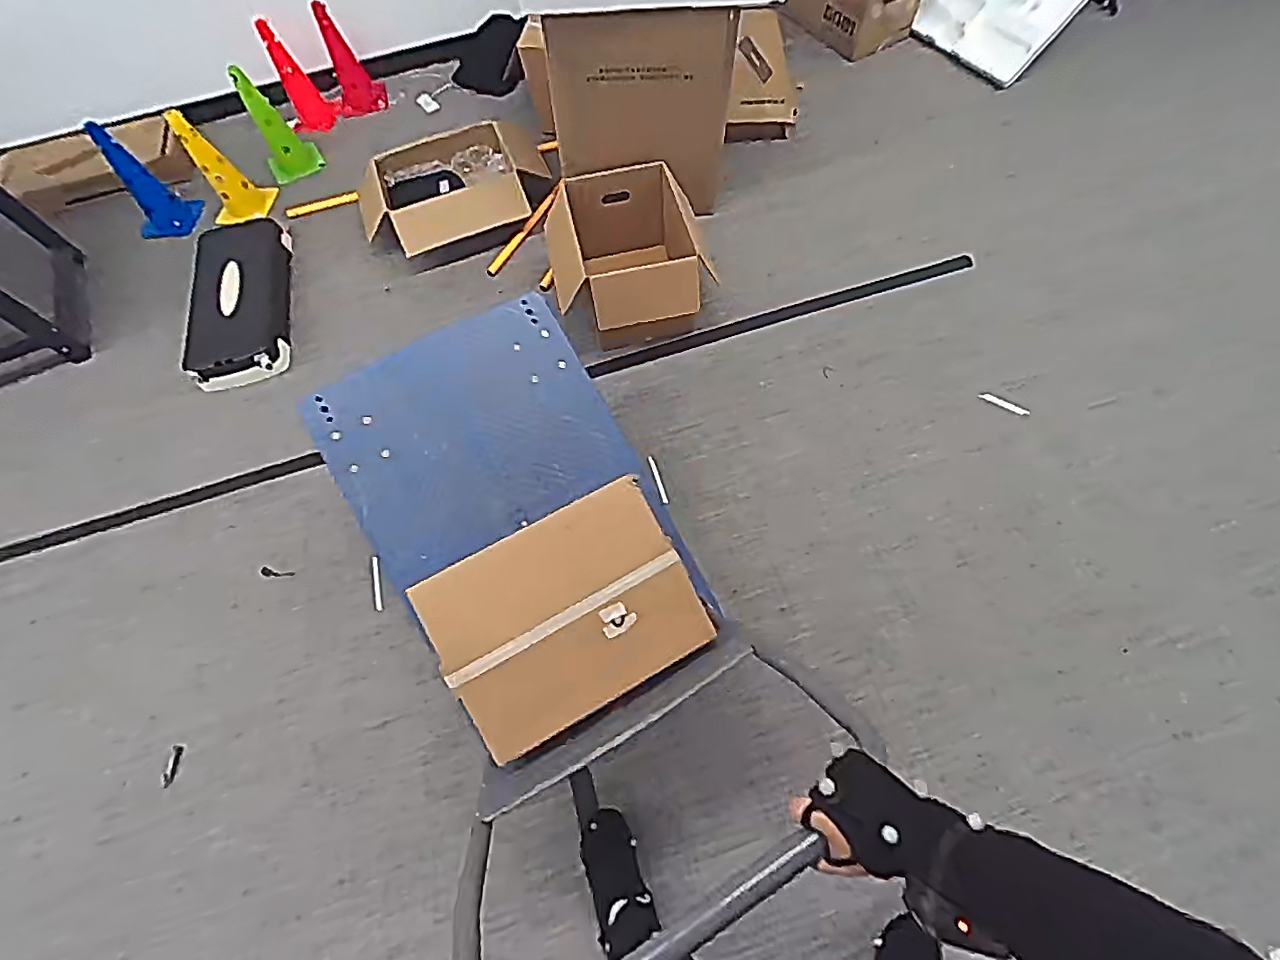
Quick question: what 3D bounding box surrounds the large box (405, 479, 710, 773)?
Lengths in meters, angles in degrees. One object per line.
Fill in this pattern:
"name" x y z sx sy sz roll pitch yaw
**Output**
"large box" -0.147 0.240 1.009 0.408 0.320 0.320 -29 91 -11
